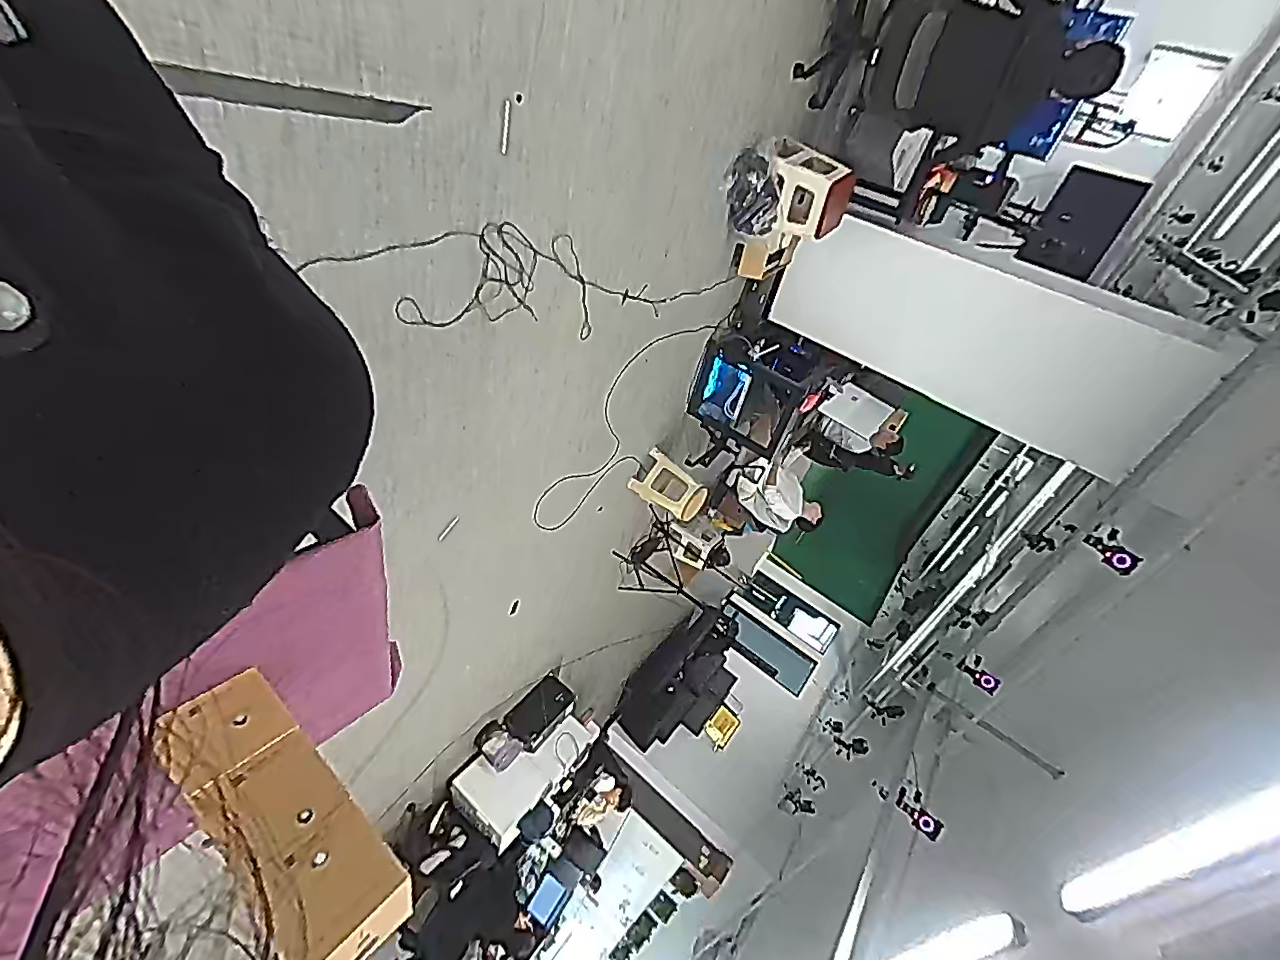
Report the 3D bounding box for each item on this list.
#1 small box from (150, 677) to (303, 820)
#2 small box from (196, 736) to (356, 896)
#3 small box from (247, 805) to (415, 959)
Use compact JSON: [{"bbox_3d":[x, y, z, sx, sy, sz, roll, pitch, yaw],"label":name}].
[{"bbox_3d":[-0.730,0.487,0.972,0.168,0.176,0.179,-32,148,-47],"label":"small box"},{"bbox_3d":[-0.605,0.575,0.915,0.168,0.176,0.179,-32,149,-46],"label":"small box"},{"bbox_3d":[-0.479,0.660,0.850,0.168,0.176,0.179,-31,147,-47],"label":"small box"}]
